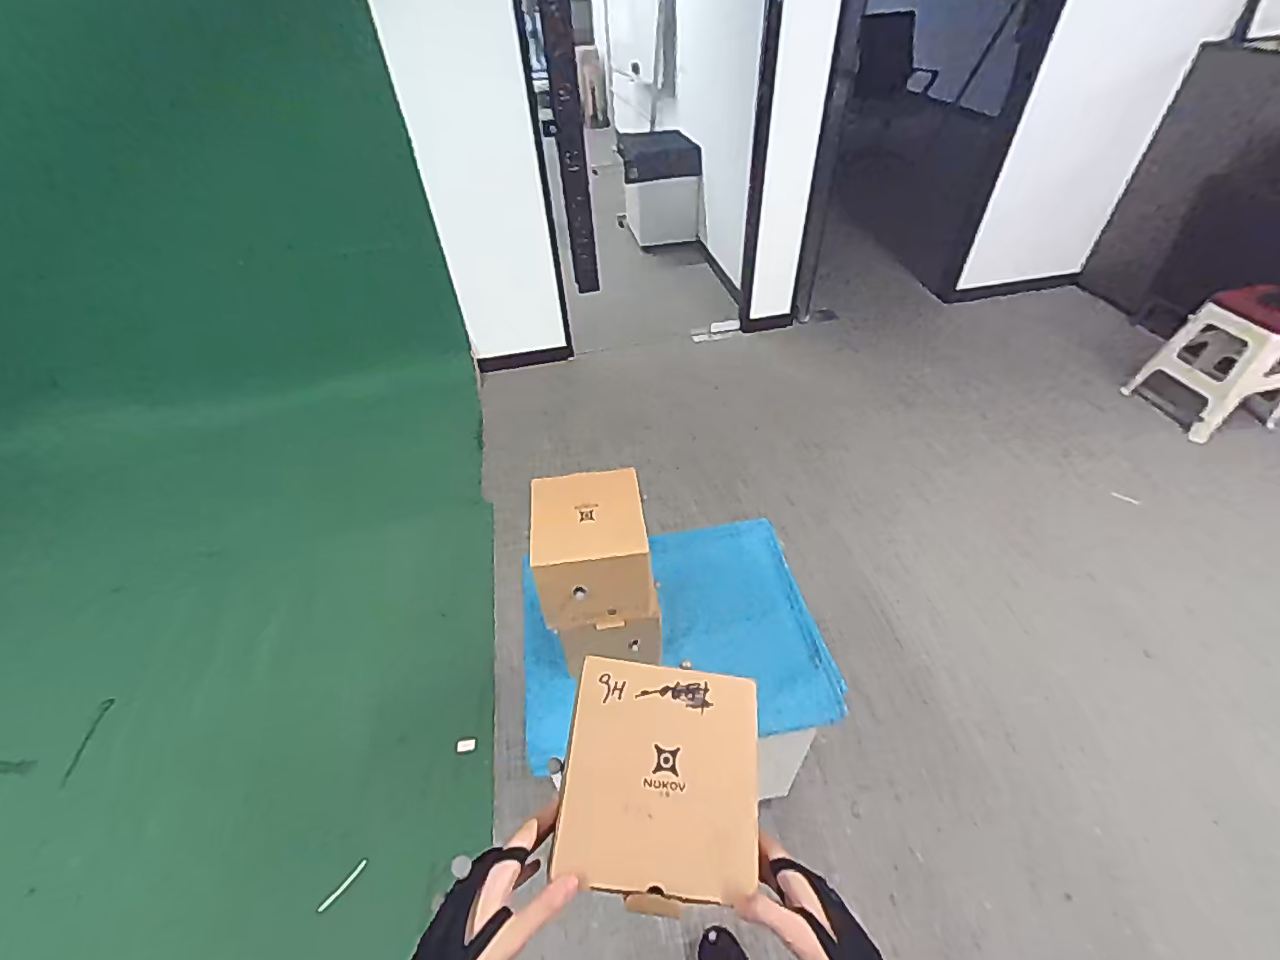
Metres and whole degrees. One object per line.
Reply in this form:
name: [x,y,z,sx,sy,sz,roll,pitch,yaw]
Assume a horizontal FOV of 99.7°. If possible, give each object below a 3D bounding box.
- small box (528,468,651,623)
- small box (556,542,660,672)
small box: [-0.075,0.107,0.841,0.168,0.176,0.179,-6,43,-4]
small box: [-0.057,0.222,0.955,0.168,0.176,0.179,-7,44,-5]
